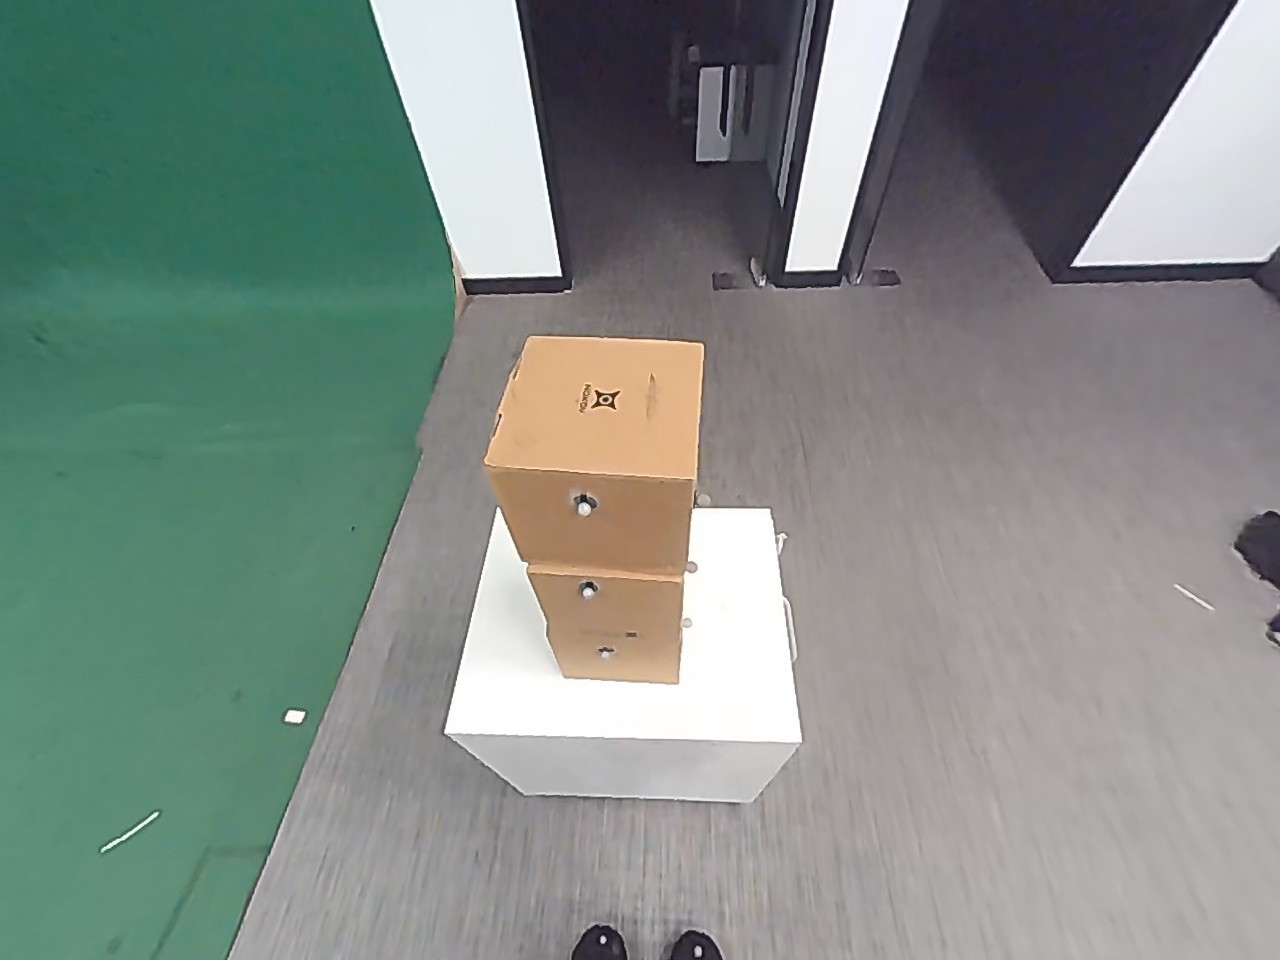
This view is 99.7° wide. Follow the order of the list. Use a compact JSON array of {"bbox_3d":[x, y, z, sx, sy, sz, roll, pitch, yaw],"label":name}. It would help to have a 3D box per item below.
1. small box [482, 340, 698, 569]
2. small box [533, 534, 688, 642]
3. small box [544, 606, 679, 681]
[{"bbox_3d":[-0.035,-0.021,0.551,0.179,0.176,0.168,4,54,5],"label":"small box"},{"bbox_3d":[-0.028,0.084,0.678,0.168,0.176,0.179,2,52,2],"label":"small box"},{"bbox_3d":[-0.030,0.187,0.802,0.179,0.176,0.168,2,52,4],"label":"small box"}]
